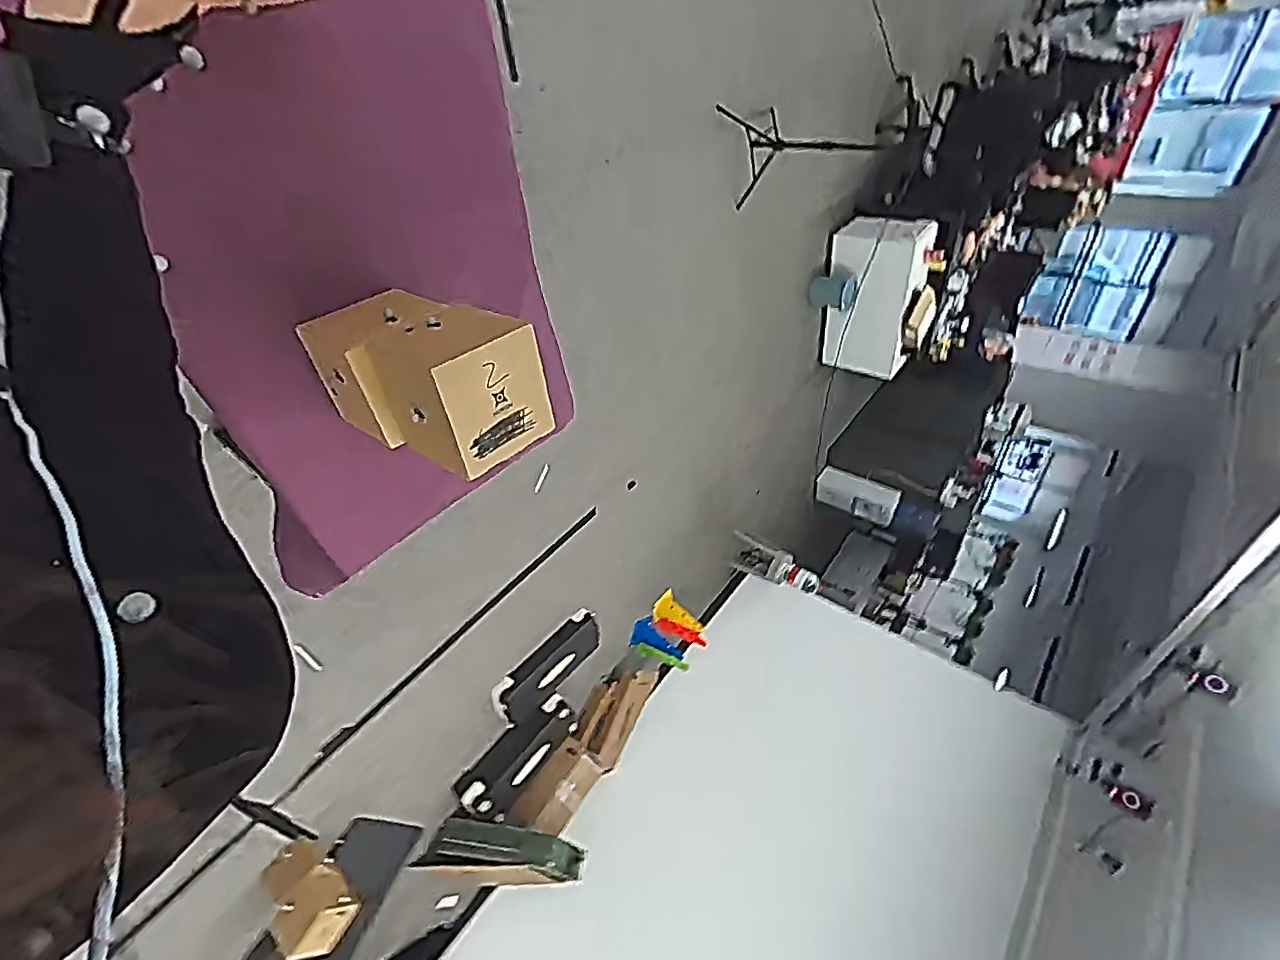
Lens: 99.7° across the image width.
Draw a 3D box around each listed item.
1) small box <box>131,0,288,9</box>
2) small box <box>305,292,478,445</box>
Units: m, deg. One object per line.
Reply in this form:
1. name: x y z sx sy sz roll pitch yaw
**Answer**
1. small box: -0.443 -0.585 0.535 0.179 0.176 0.168 -40 140 -34
2. small box: -0.399 -0.185 0.865 0.179 0.176 0.168 -41 140 -34
